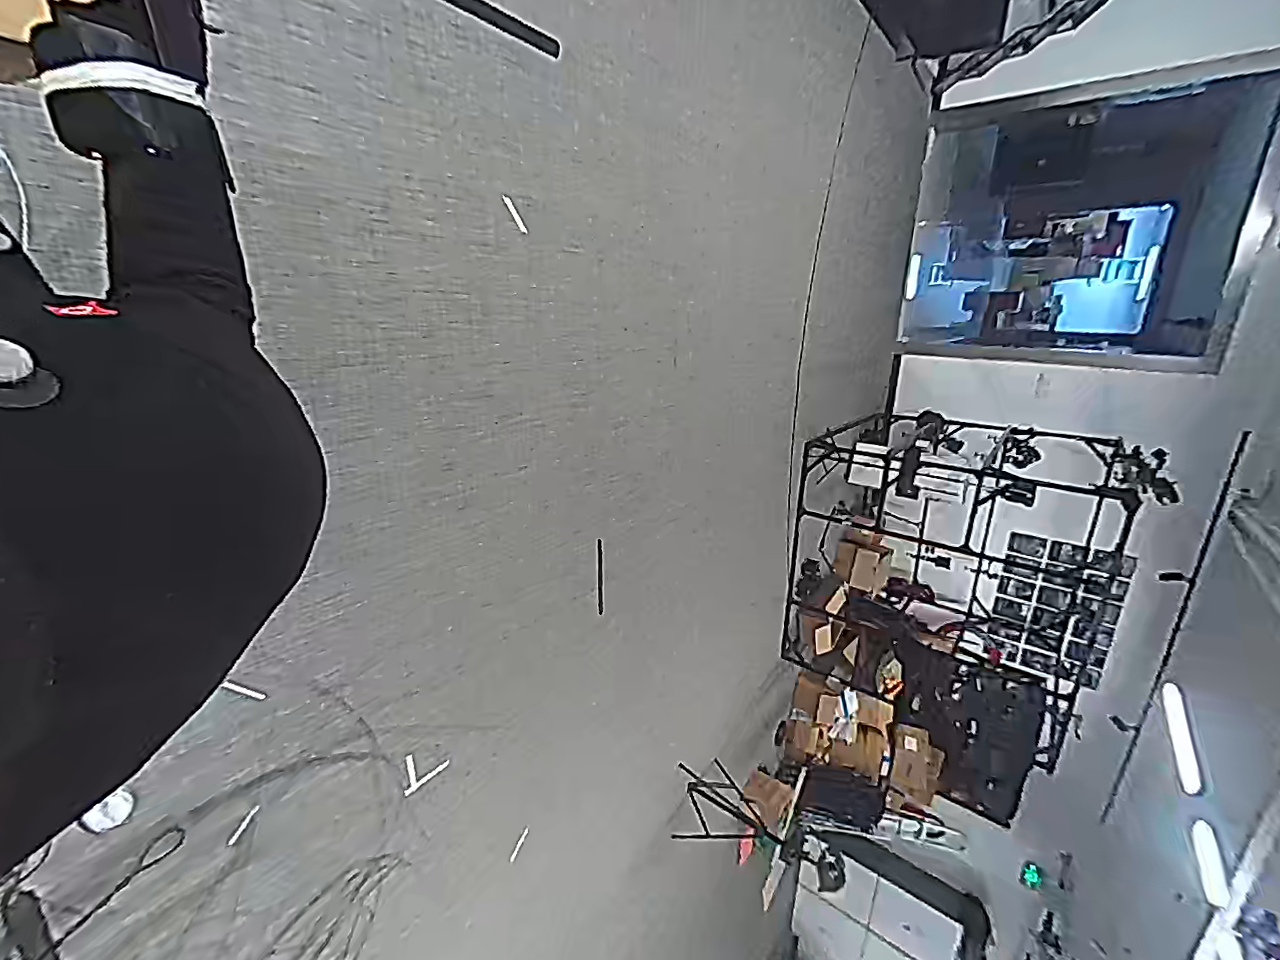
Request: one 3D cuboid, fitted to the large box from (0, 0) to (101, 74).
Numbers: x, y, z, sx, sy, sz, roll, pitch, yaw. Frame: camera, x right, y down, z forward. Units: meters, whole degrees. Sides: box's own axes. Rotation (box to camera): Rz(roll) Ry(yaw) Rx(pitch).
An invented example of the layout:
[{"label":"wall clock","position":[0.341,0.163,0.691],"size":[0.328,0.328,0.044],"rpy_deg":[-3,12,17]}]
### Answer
[{"label":"large box","position":[-0.565,-0.415,0.215],"size":[0.408,0.320,0.320],"rpy_deg":[-22,128,-52]}]
